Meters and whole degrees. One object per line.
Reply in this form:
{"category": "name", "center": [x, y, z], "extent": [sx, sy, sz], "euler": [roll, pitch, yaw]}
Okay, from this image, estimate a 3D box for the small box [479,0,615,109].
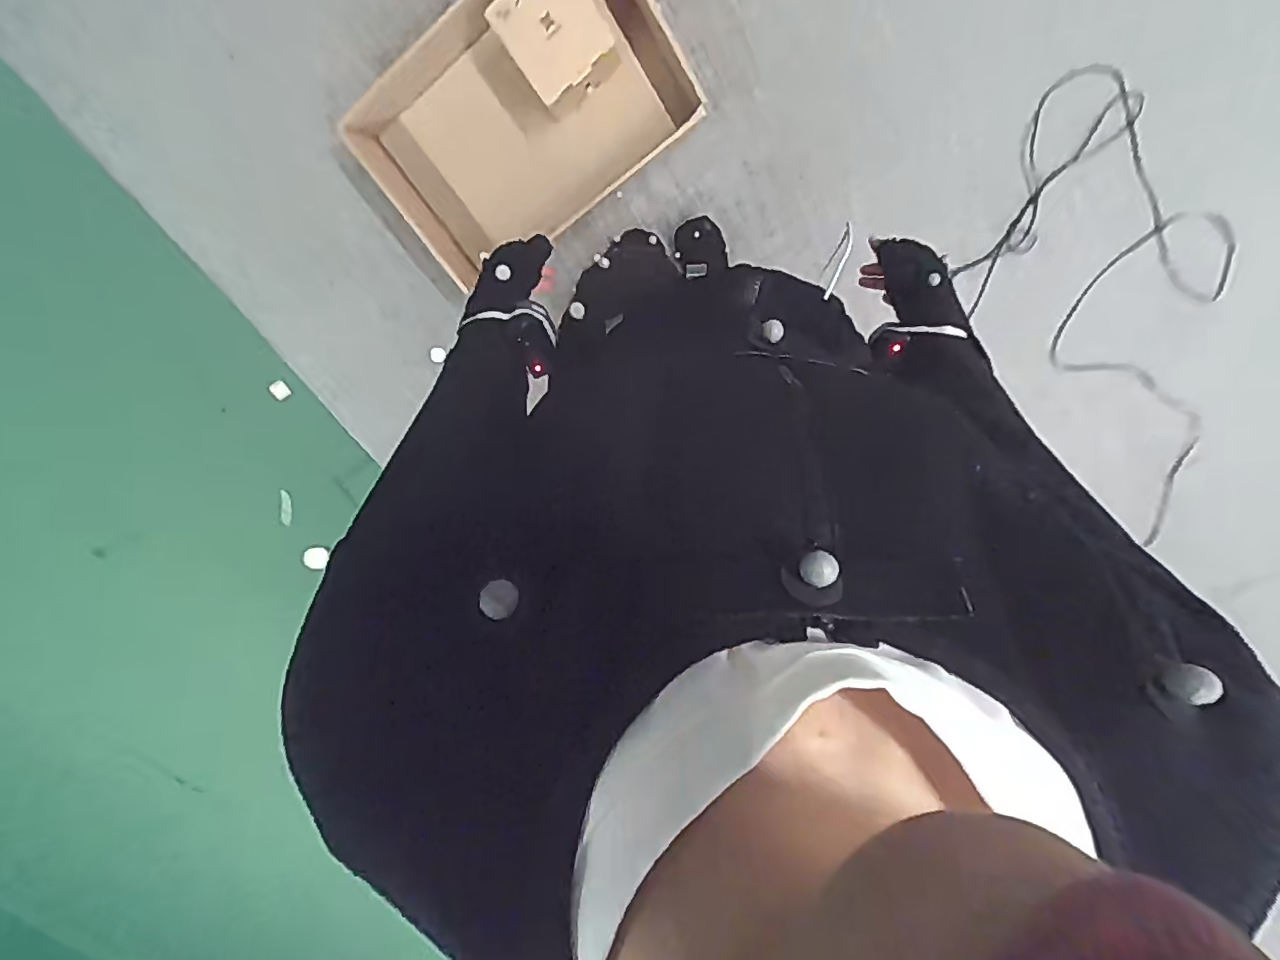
{"category": "small box", "center": [-0.162, -0.834, 1.014], "extent": [0.168, 0.176, 0.179], "euler": [-36, 110, 18]}
